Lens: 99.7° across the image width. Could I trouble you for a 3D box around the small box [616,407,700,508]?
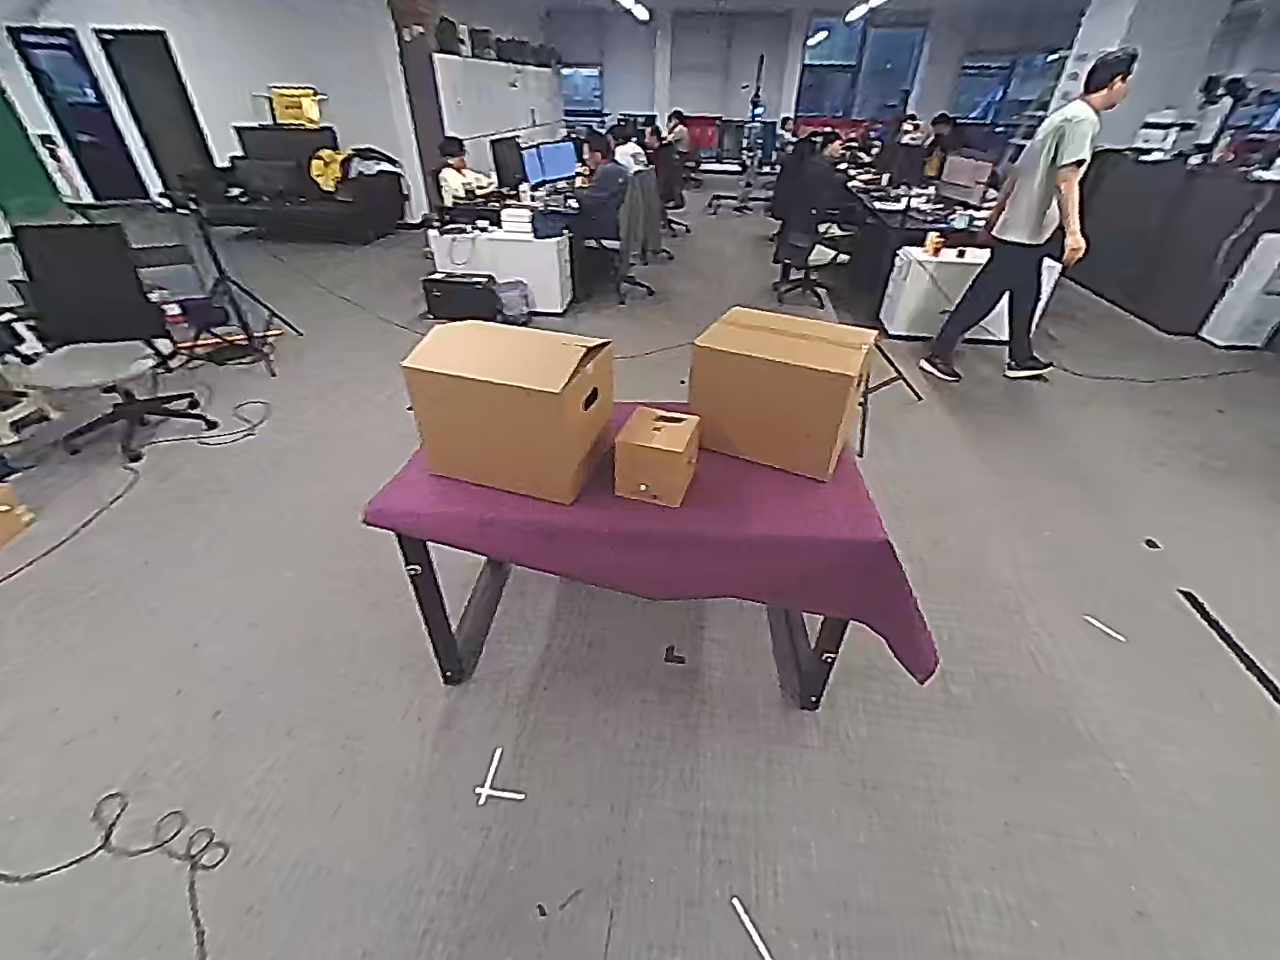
[{"bbox_3d":[0.043,-0.058,1.349,0.168,0.176,0.179,11,37,15],"label":"small box"}]
